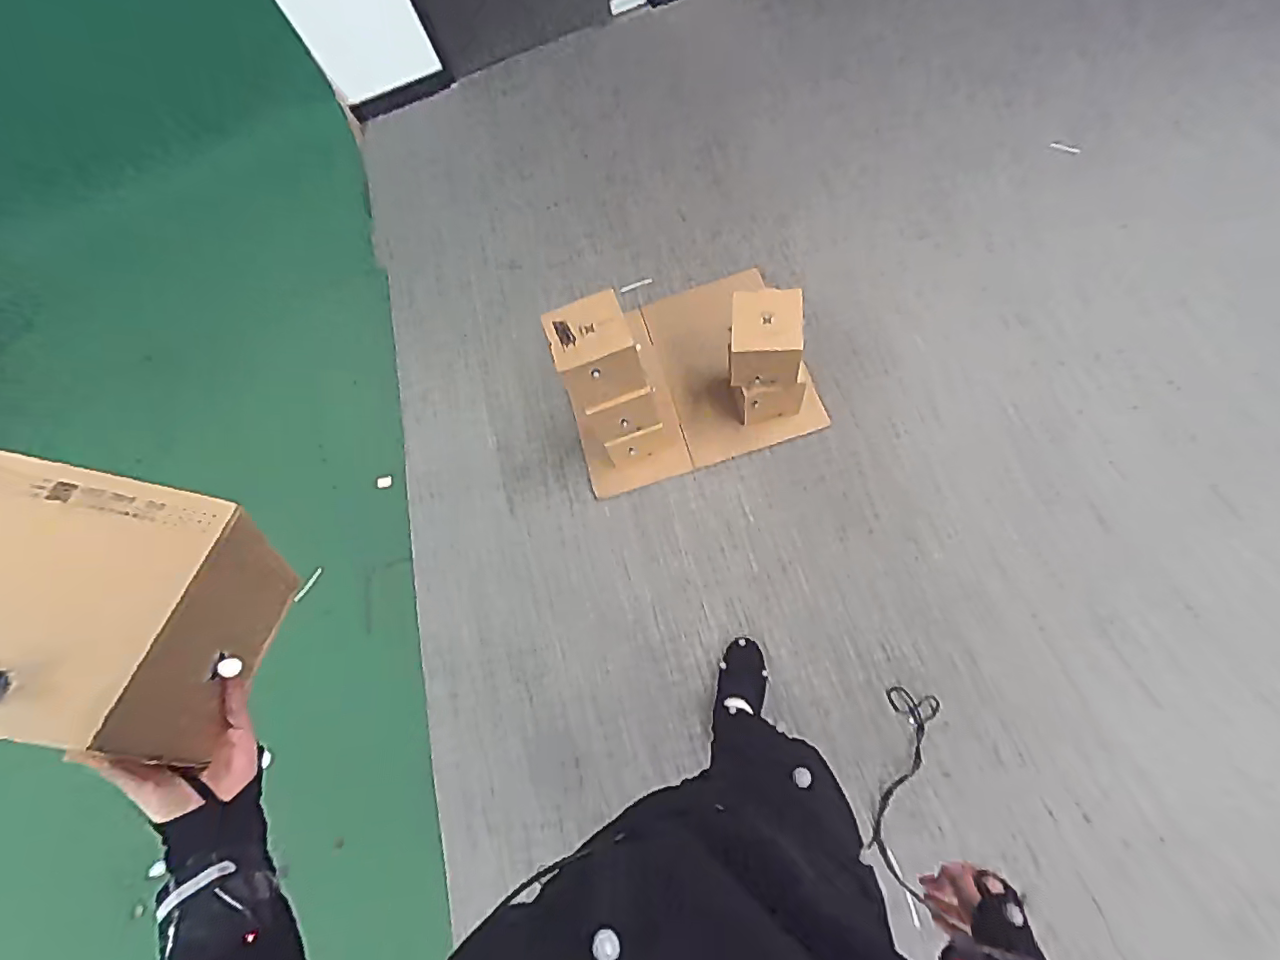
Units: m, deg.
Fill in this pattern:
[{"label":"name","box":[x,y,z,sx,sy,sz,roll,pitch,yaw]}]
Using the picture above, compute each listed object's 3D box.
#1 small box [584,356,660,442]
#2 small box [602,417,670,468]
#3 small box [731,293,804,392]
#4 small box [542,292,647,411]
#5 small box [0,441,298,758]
[{"label":"small box","box":[-0.057,-0.215,1.370,0.168,0.176,0.179,-19,65,2]},{"label":"small box","box":[-0.024,-0.149,1.517,0.168,0.176,0.179,-19,65,3]},{"label":"small box","box":[0.313,-0.339,1.346,0.168,0.176,0.179,2,69,11]},{"label":"small box","box":[-0.098,-0.283,1.225,0.179,0.176,0.168,-20,66,2]},{"label":"small box","box":[-0.398,0.099,0.410,0.168,0.179,0.176,14,57,-8]}]
